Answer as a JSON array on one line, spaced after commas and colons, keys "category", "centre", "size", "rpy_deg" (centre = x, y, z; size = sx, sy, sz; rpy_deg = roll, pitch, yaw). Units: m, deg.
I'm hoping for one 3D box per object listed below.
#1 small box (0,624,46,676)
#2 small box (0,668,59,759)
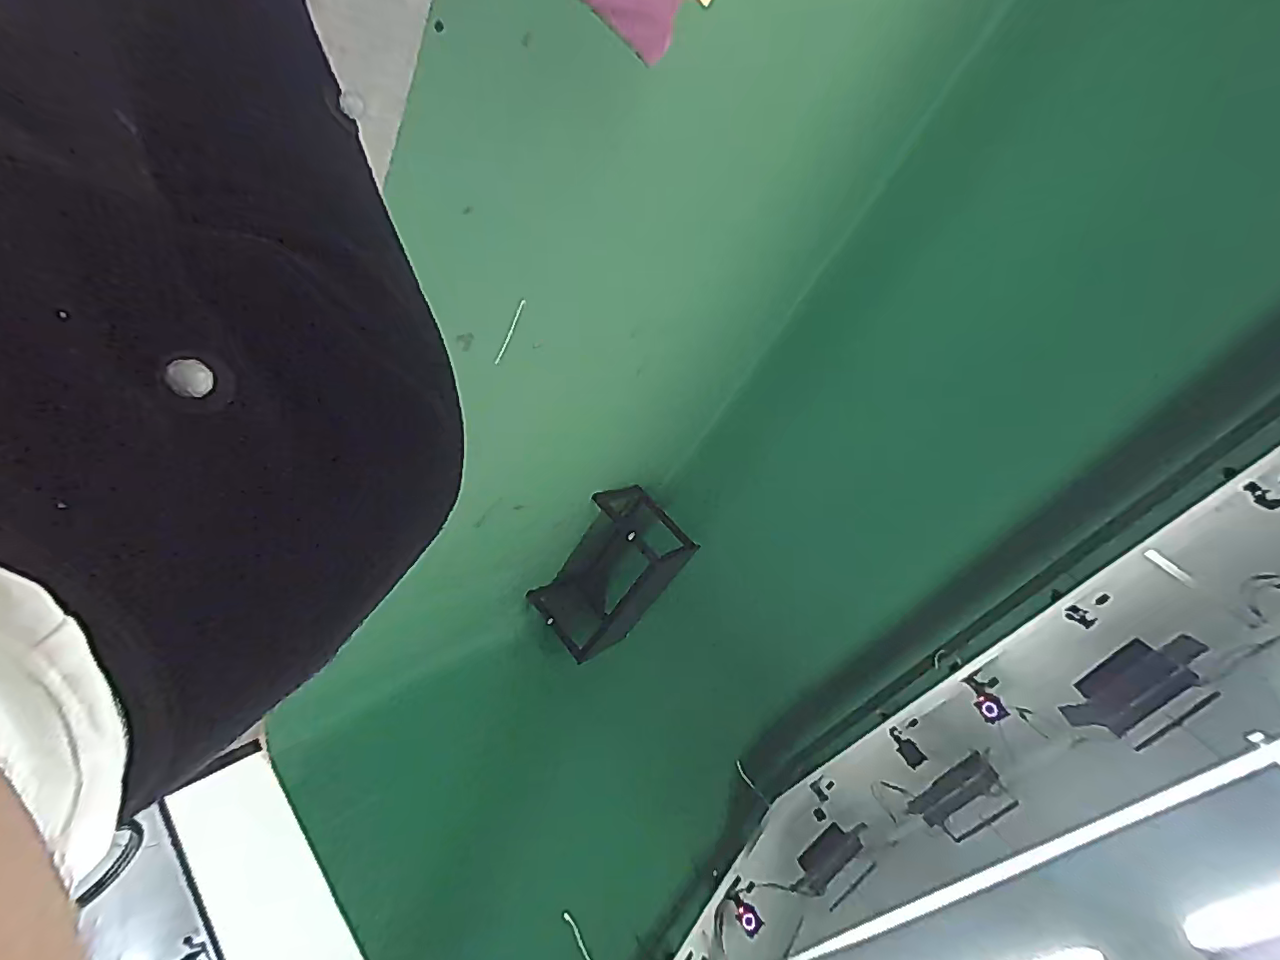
[{"category": "small box", "centre": [-1.906, 0.561, 1.608], "size": [0.168, 0.176, 0.179], "rpy_deg": [-4, 135, -54]}, {"category": "small box", "centre": [-1.807, 0.674, 1.544], "size": [0.179, 0.176, 0.168], "rpy_deg": [-53, 155, 21]}]
